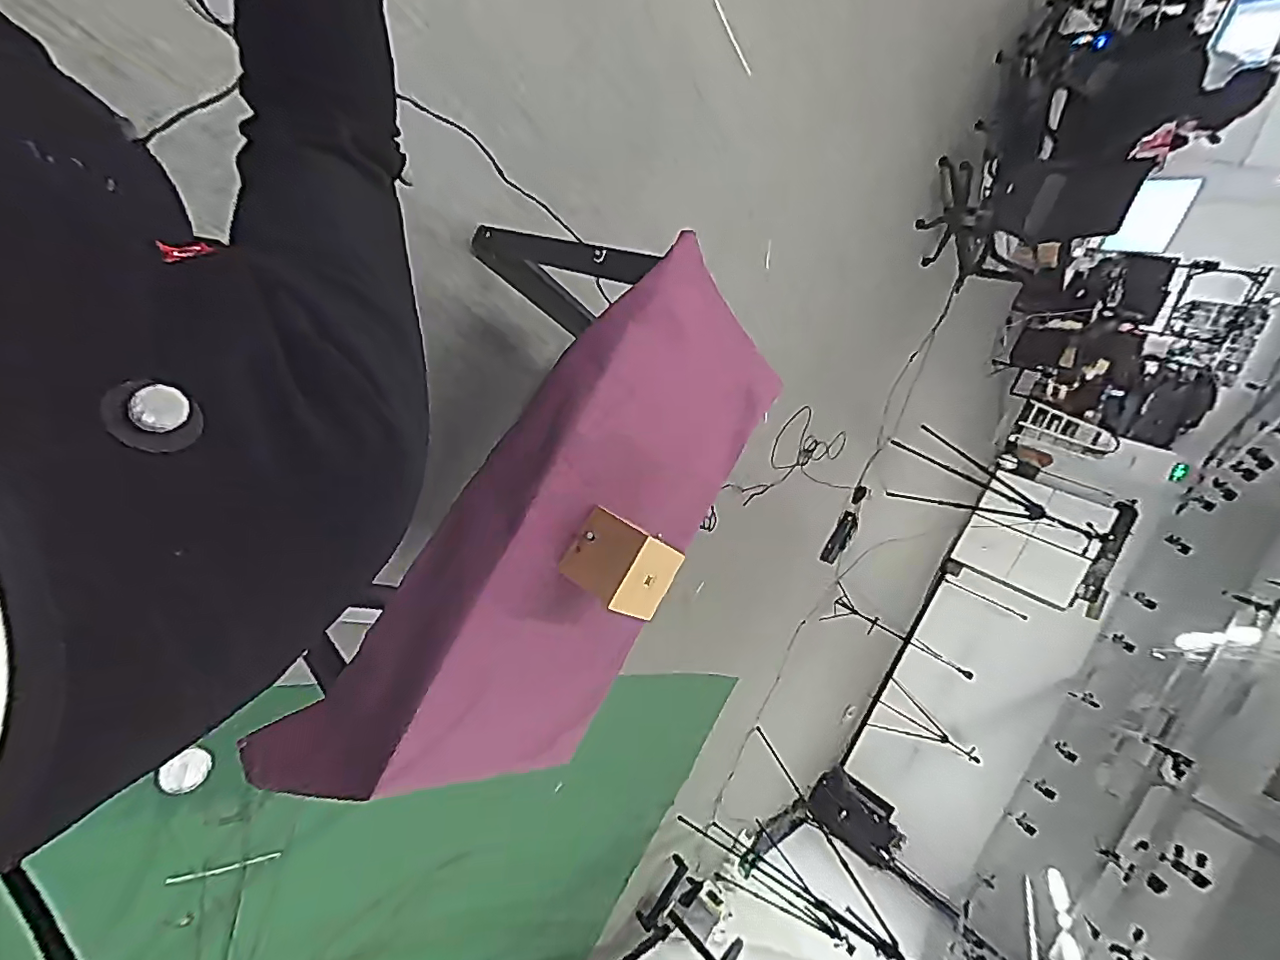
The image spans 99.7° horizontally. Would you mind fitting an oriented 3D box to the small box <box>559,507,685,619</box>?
[{"bbox_3d":[-0.038,0.178,1.173,0.168,0.176,0.179,-60,142,-4],"label":"small box"}]
